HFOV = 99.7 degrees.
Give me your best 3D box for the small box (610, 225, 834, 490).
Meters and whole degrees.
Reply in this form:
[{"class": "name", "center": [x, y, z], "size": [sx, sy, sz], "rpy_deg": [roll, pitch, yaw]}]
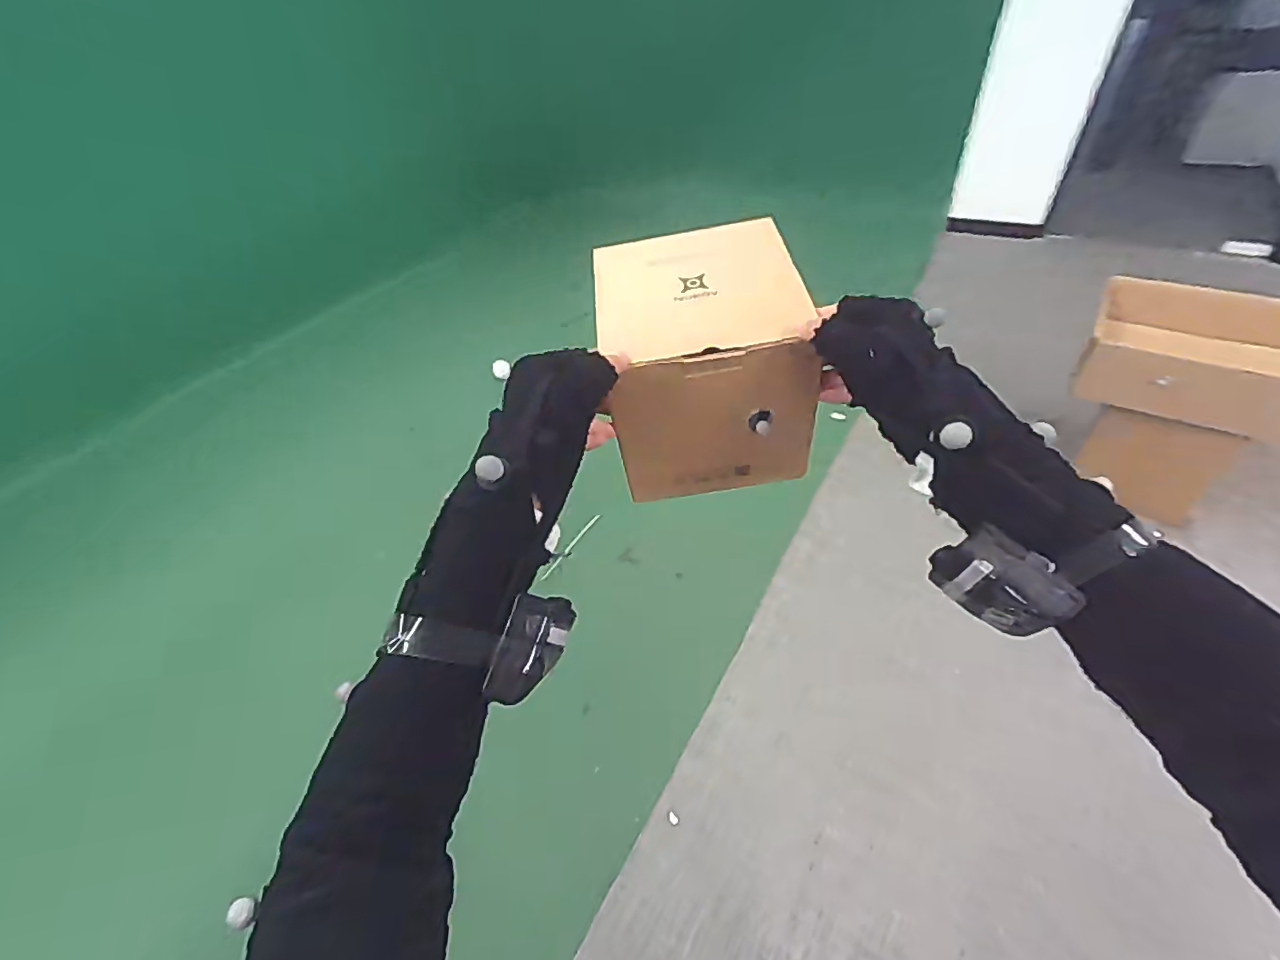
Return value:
[{"class": "small box", "center": [0.068, -0.105, 0.505], "size": [0.168, 0.176, 0.179], "rpy_deg": [-7, 50, 4]}]
